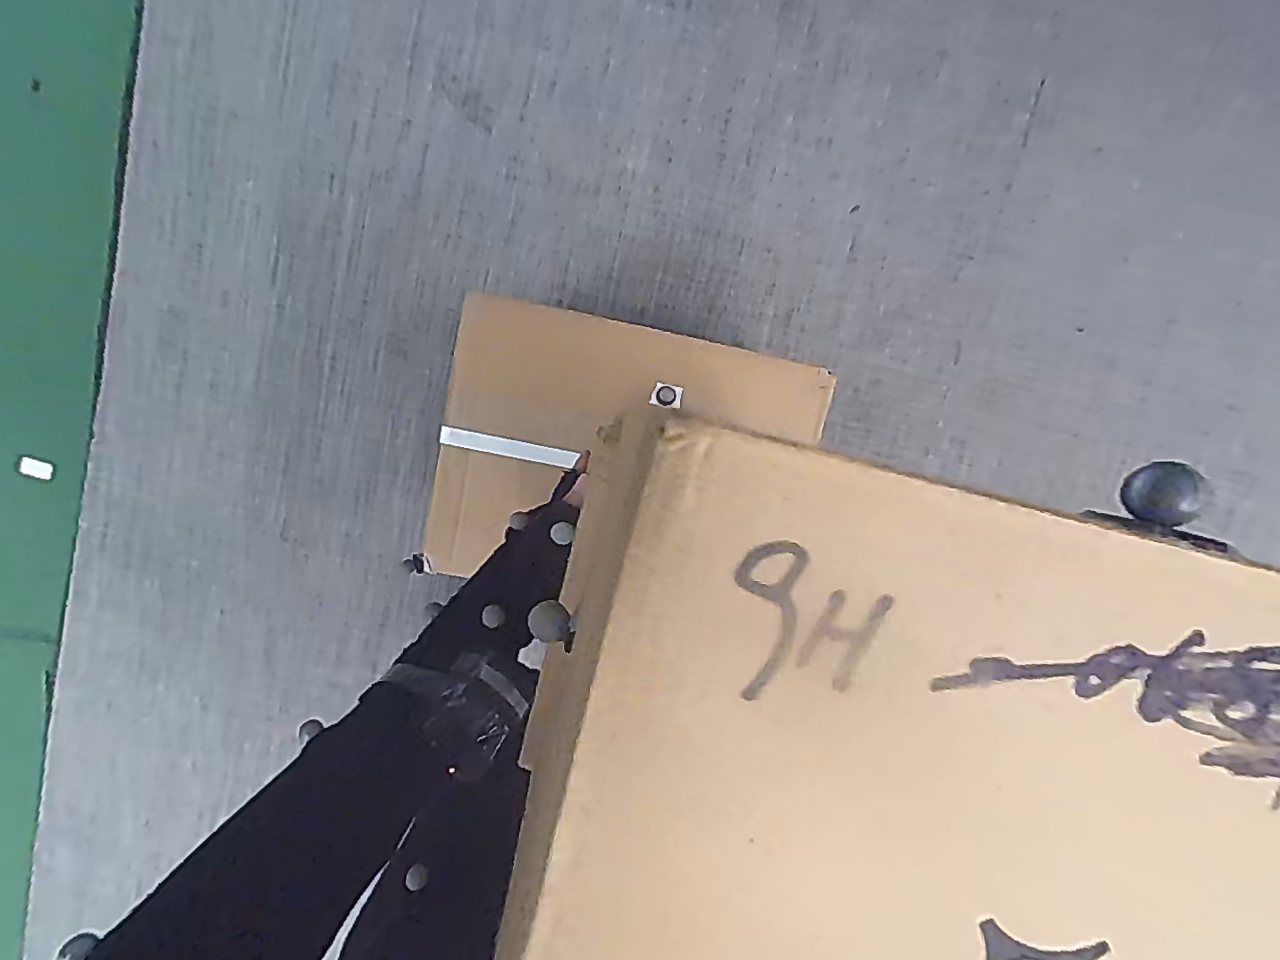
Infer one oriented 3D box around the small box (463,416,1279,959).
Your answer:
[{"bbox_3d":[0.049,0.084,0.176,0.168,0.176,0.179,15,97,-4],"label":"small box"}]
